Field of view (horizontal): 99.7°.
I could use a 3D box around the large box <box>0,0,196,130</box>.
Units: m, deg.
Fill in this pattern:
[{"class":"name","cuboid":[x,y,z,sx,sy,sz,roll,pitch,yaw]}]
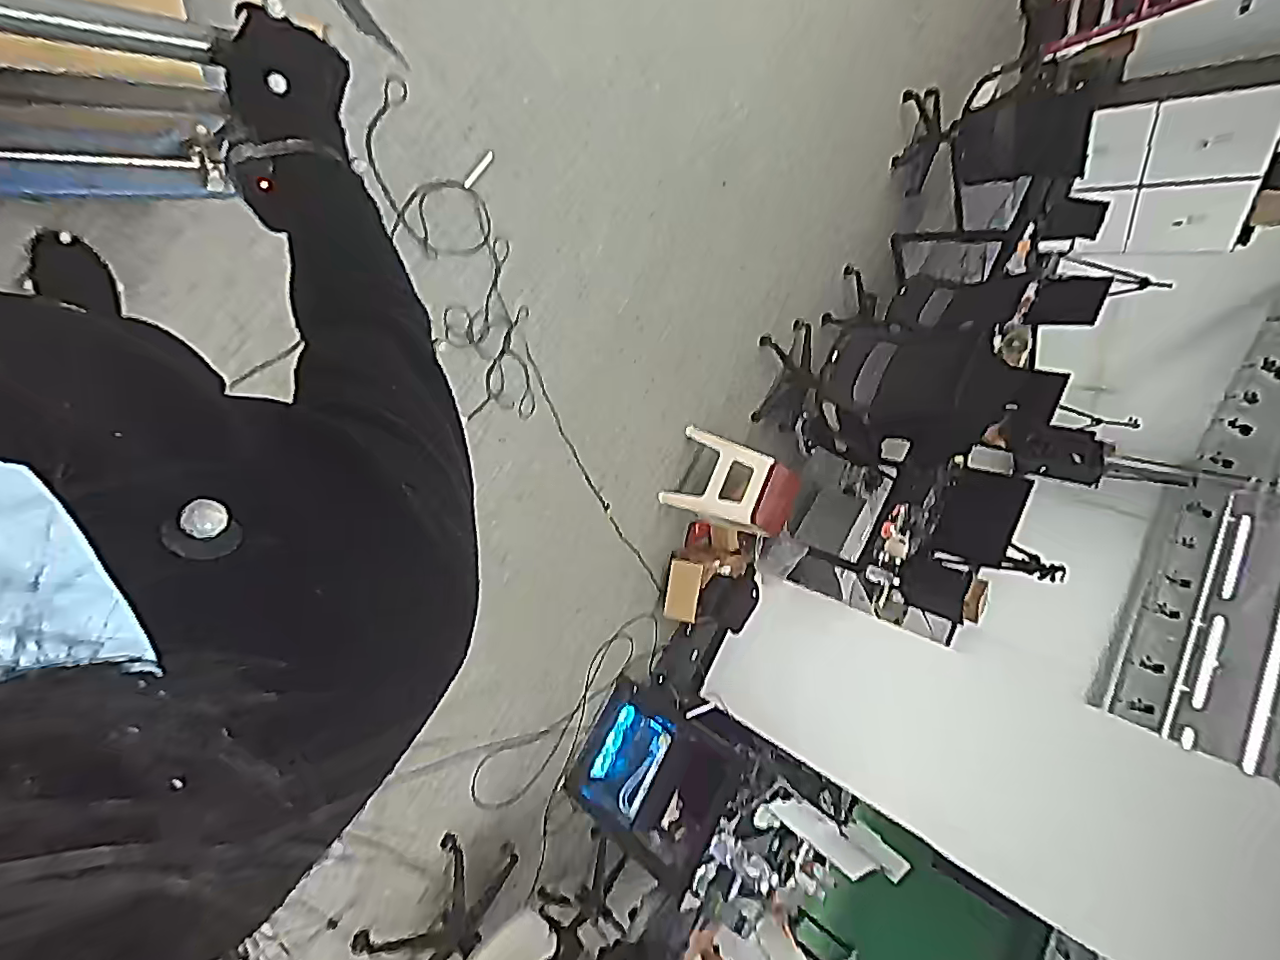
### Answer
[{"class":"large box","cuboid":[-0.849,-0.632,0.631,0.408,0.320,0.320,-26,123,-43]}]
